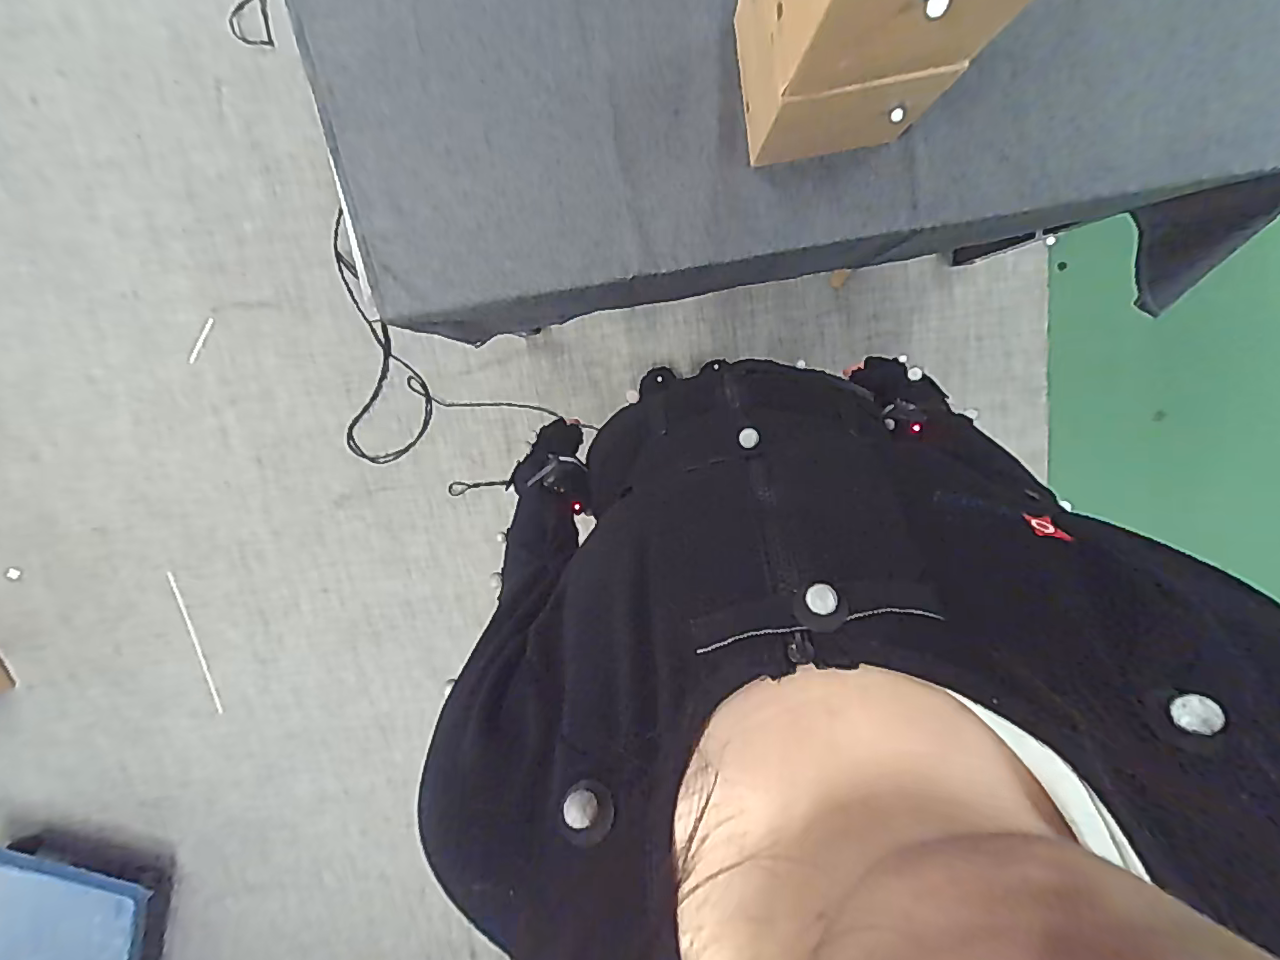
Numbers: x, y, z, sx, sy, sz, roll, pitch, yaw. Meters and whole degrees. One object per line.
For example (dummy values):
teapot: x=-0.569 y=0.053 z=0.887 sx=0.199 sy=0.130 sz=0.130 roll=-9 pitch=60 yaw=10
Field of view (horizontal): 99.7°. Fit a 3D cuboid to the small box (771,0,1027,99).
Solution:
small box: x=0.204 y=-0.433 z=0.413 sx=0.179 sy=0.176 sz=0.168 roll=-9 pitch=100 yaw=4
